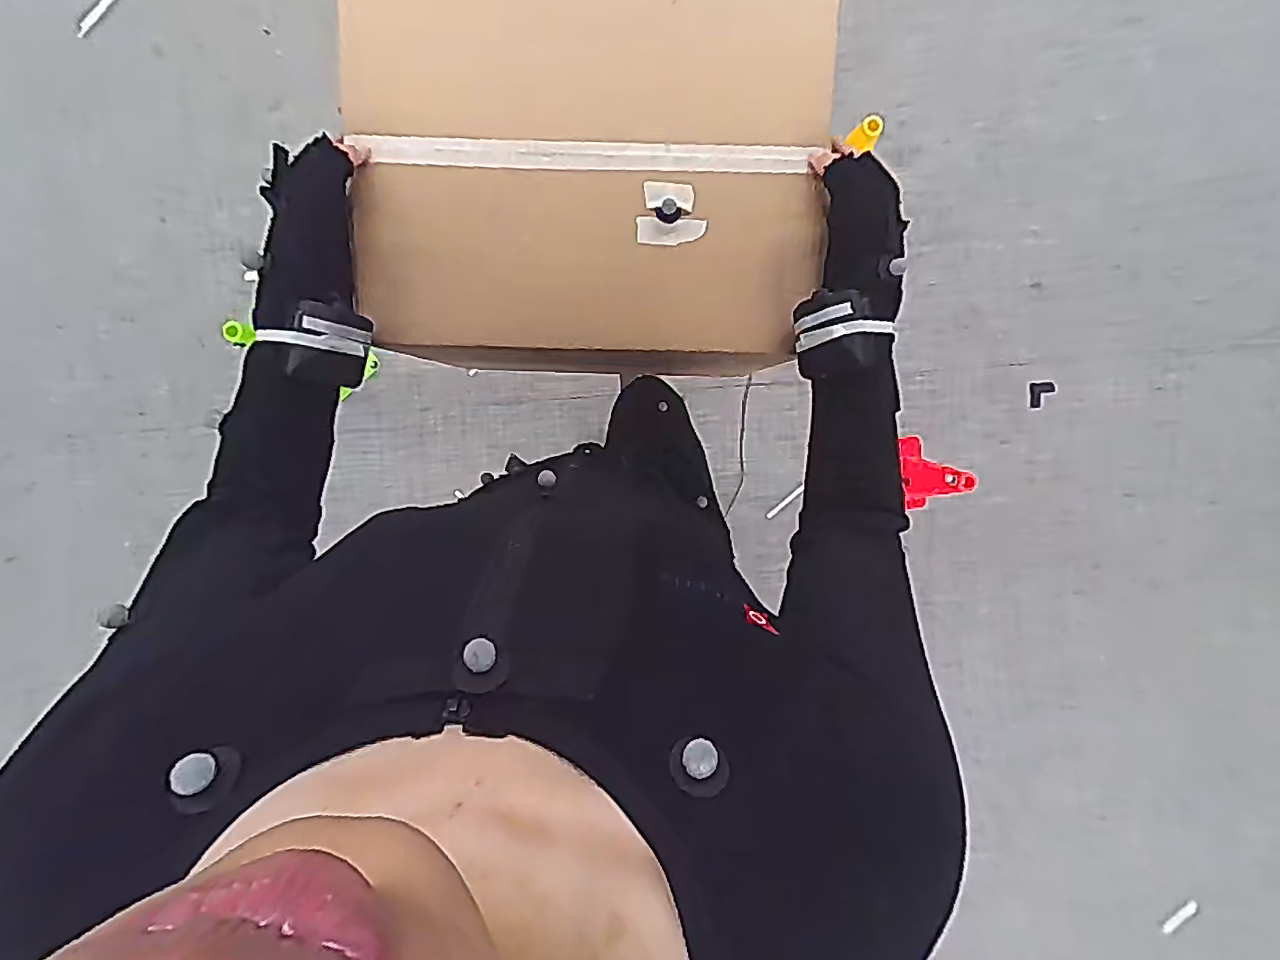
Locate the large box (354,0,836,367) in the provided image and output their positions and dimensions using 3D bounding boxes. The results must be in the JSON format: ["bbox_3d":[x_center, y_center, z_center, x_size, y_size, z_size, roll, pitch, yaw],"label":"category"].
[{"bbox_3d":[-0.042,-0.298,0.605,0.408,0.320,0.320,1,98,-2],"label":"large box"}]

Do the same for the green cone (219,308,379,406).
[{"bbox_3d":[-0.821,-0.314,1.260,0.202,0.368,0.200,-41,92,3],"label":"green cone"}]
